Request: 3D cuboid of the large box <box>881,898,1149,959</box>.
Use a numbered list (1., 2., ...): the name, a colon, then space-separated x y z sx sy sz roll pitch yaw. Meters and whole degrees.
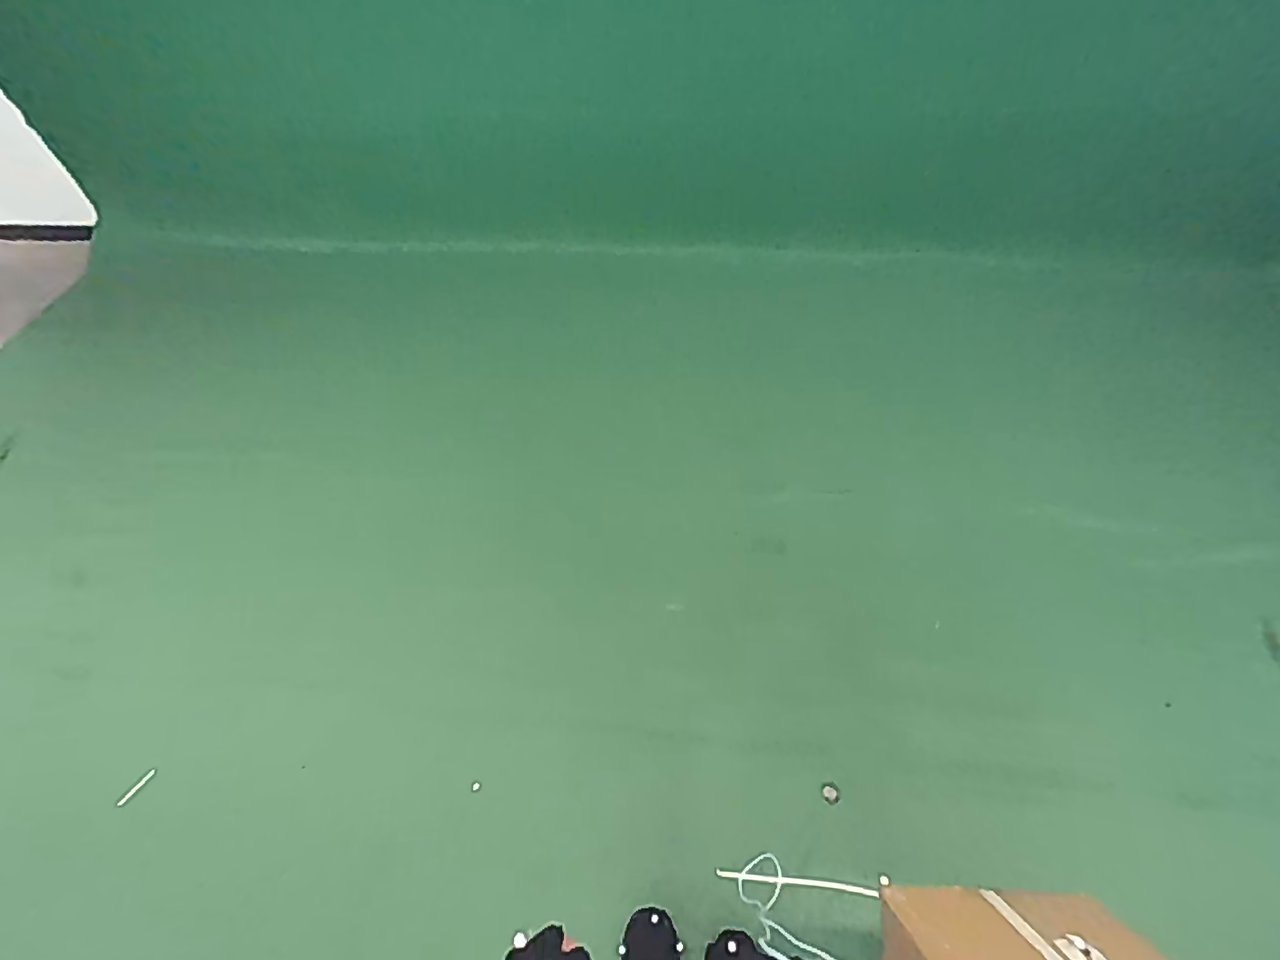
1. large box: 0.513 0.762 0.603 0.320 0.408 0.320 2 81 2
